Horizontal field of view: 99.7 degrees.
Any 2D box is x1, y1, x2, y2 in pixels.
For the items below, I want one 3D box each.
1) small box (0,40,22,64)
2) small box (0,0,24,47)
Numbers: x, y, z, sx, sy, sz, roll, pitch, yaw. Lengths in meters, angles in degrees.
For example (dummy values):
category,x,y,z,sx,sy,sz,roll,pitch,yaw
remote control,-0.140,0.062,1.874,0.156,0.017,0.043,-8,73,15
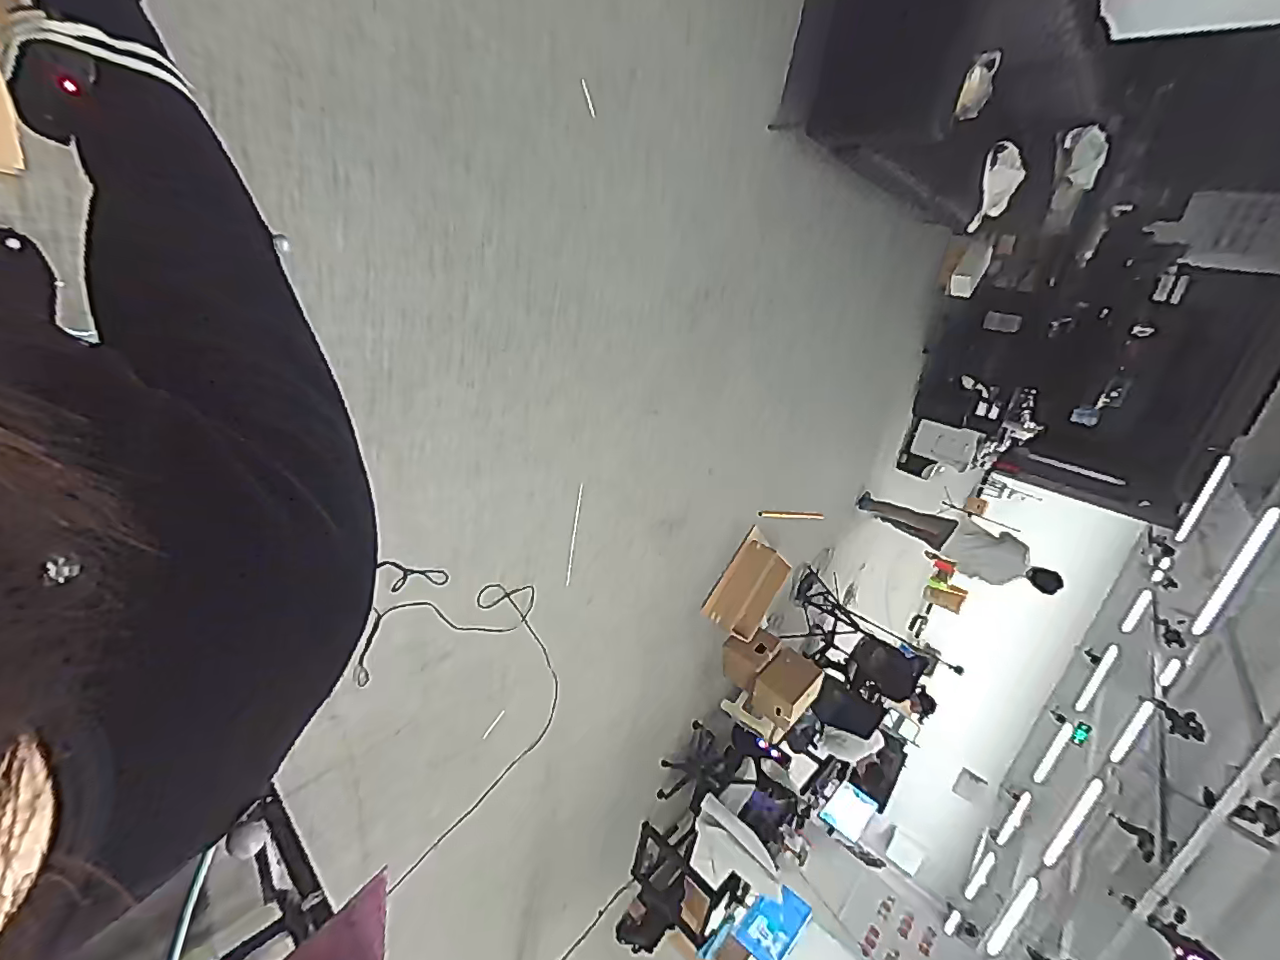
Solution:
category,x,y,z,sx,sy,sz,roll,pitch,yaw
small box,-0.692,-0.495,0.475,0.179,0.176,0.168,-12,120,-44
small box,-0.575,-0.436,0.376,0.179,0.176,0.168,-10,118,-45
